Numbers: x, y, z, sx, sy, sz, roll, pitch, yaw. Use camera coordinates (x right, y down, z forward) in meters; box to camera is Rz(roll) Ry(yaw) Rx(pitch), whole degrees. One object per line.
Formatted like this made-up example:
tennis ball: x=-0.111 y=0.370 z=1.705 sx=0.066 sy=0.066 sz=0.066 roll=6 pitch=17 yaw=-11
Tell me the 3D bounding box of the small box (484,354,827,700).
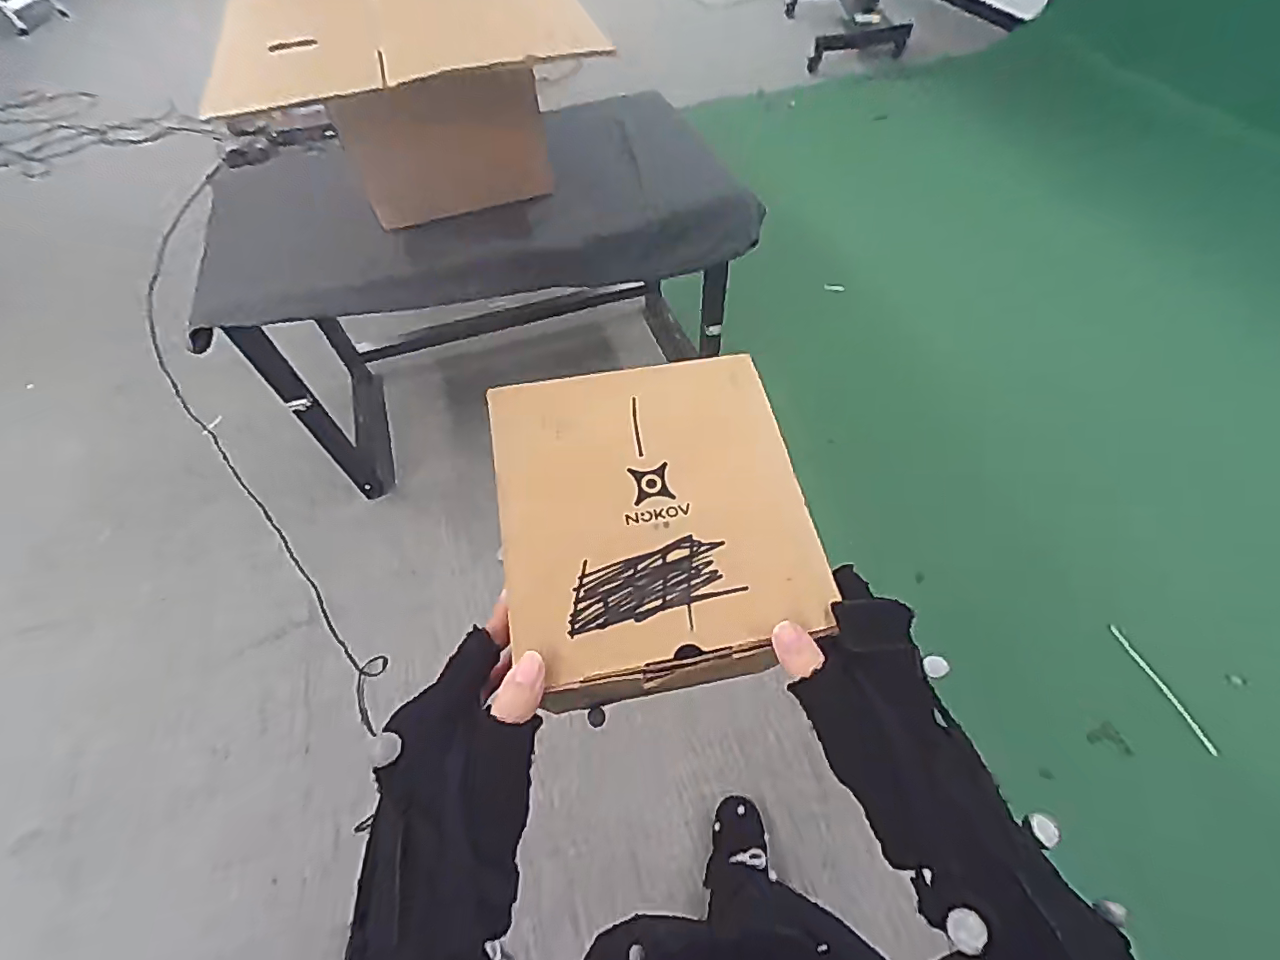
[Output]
small box: x=-0.001 y=0.044 z=0.372 sx=0.168 sy=0.176 sz=0.179 roll=-10 pitch=64 yaw=-7
